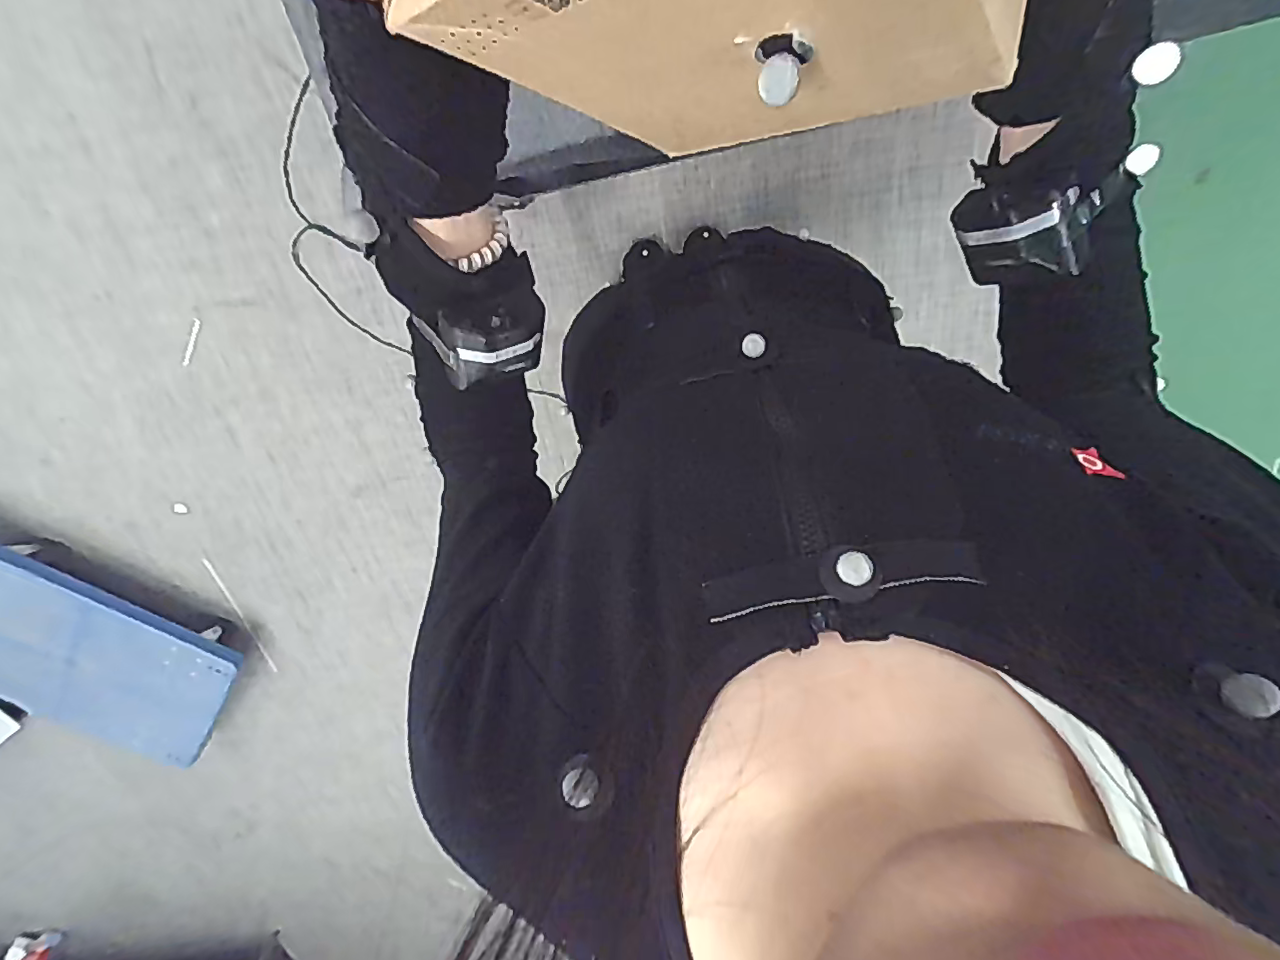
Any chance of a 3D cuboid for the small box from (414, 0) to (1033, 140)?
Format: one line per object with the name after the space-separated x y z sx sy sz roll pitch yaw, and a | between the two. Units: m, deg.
0.030 -0.240 0.169 0.168 0.176 0.179 15 112 38 | small box
